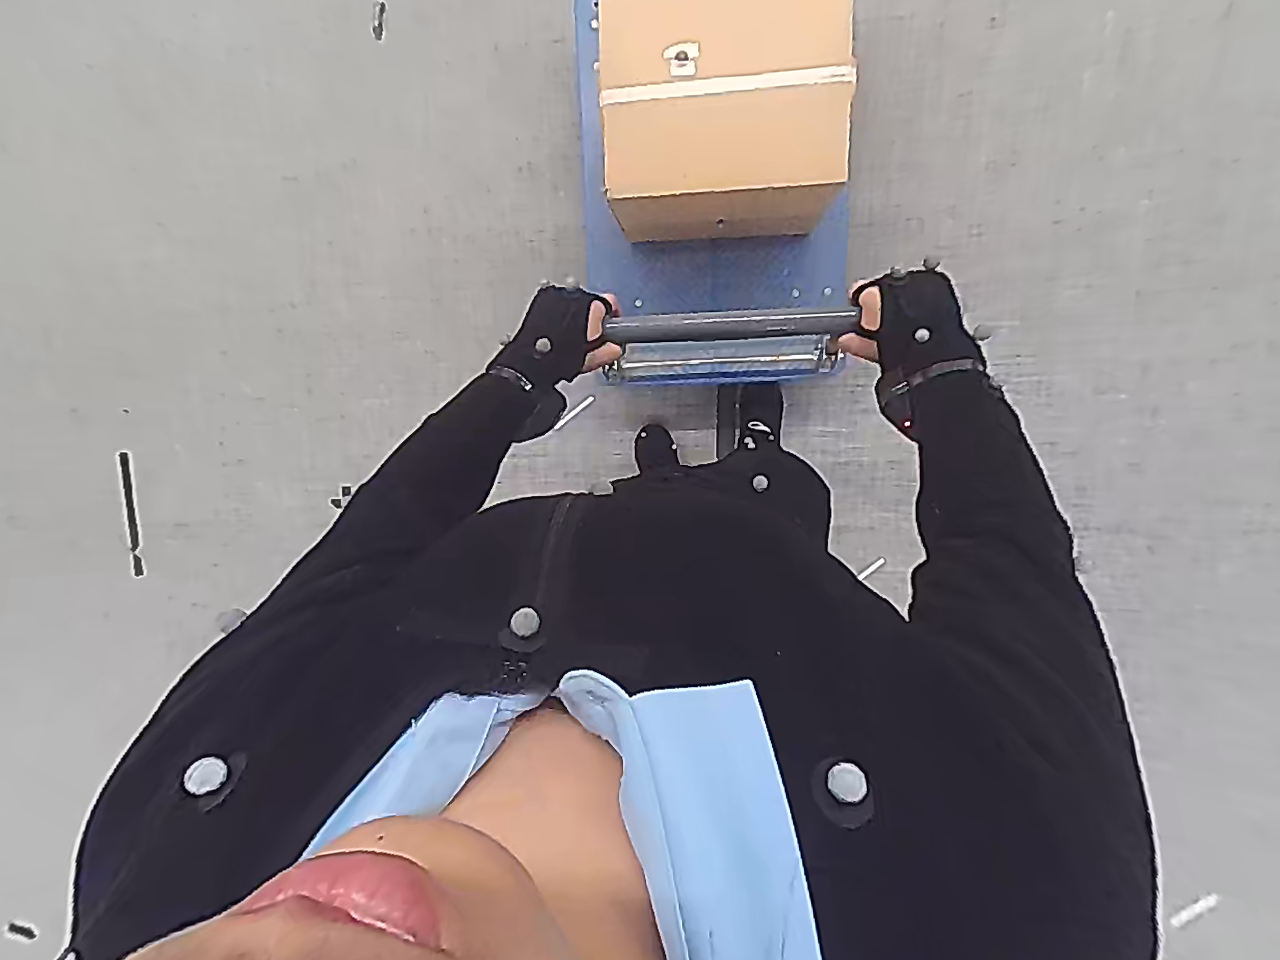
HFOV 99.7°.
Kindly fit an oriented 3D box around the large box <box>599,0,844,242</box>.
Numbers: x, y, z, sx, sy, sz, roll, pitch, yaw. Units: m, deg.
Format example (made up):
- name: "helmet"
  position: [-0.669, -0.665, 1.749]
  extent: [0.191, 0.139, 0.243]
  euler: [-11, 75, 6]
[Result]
- name: "large box"
  position: [0.156, -0.672, 1.050]
  extent: [0.408, 0.320, 0.320]
  euler: [-1, 99, 8]
